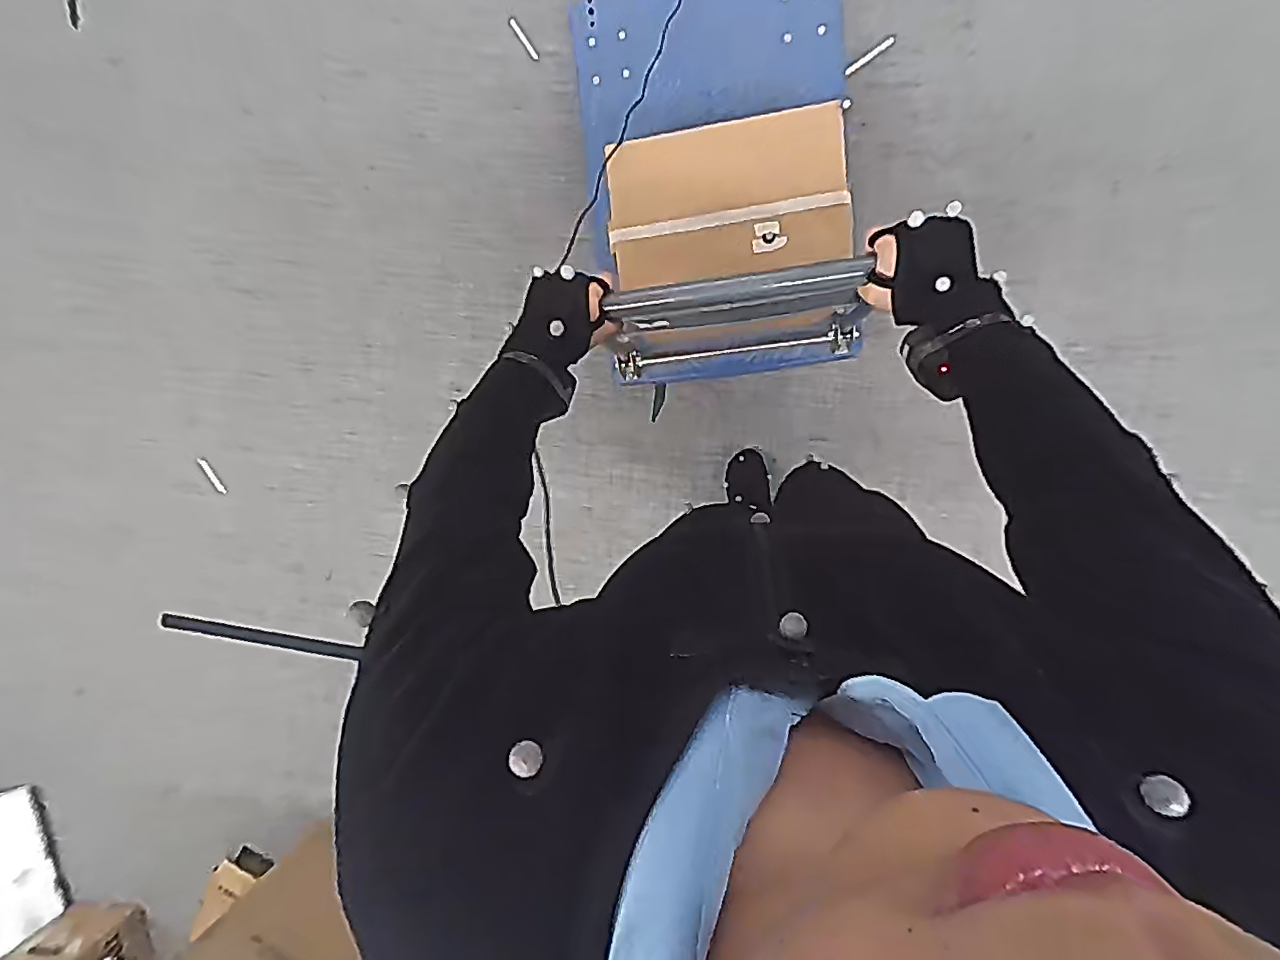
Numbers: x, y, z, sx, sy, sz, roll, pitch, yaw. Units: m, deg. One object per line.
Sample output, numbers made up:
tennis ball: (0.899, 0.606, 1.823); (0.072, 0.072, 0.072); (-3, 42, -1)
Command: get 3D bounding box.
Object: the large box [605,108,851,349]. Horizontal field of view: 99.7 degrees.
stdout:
large box: (0.169, -0.462, 1.085); (0.408, 0.320, 0.320); (-5, 96, 9)
